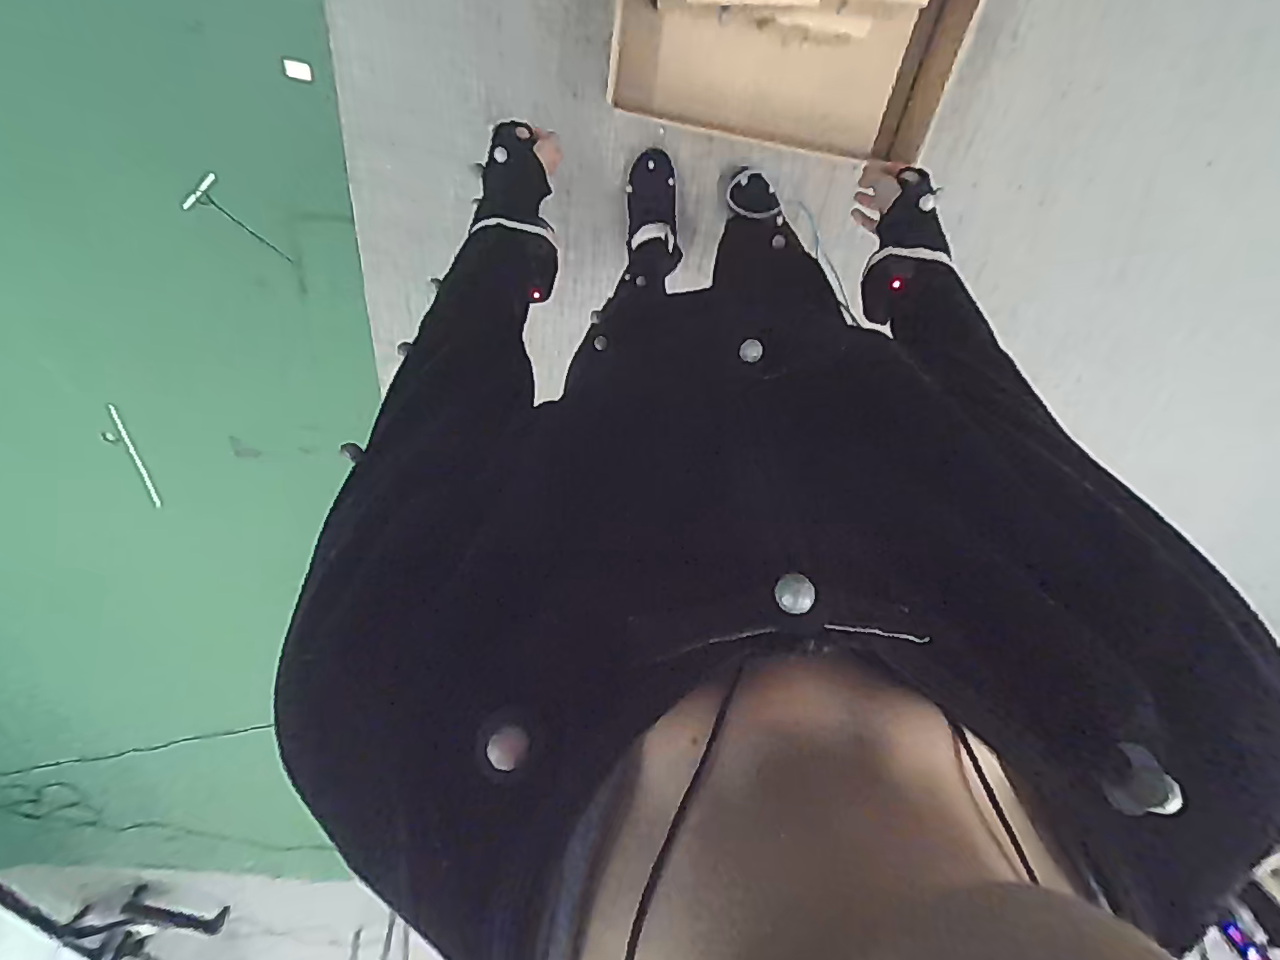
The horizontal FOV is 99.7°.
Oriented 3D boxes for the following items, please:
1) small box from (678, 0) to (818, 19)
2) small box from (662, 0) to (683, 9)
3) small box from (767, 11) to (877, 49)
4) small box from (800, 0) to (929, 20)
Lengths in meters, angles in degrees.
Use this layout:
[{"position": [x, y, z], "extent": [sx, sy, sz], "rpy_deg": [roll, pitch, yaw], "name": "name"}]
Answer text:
[{"position": [0.135, -0.685, 0.660], "extent": [0.168, 0.176, 0.179], "rpy_deg": [1, 126, -1], "name": "small box"}, {"position": [0.128, -0.791, 0.784], "extent": [0.179, 0.176, 0.168], "rpy_deg": [4, 127, -3], "name": "small box"}, {"position": [0.327, -0.869, 0.926], "extent": [0.168, 0.176, 0.179], "rpy_deg": [10, 125, -3], "name": "small box"}, {"position": [0.332, -0.788, 0.782], "extent": [0.179, 0.176, 0.168], "rpy_deg": [6, 125, -1], "name": "small box"}]
